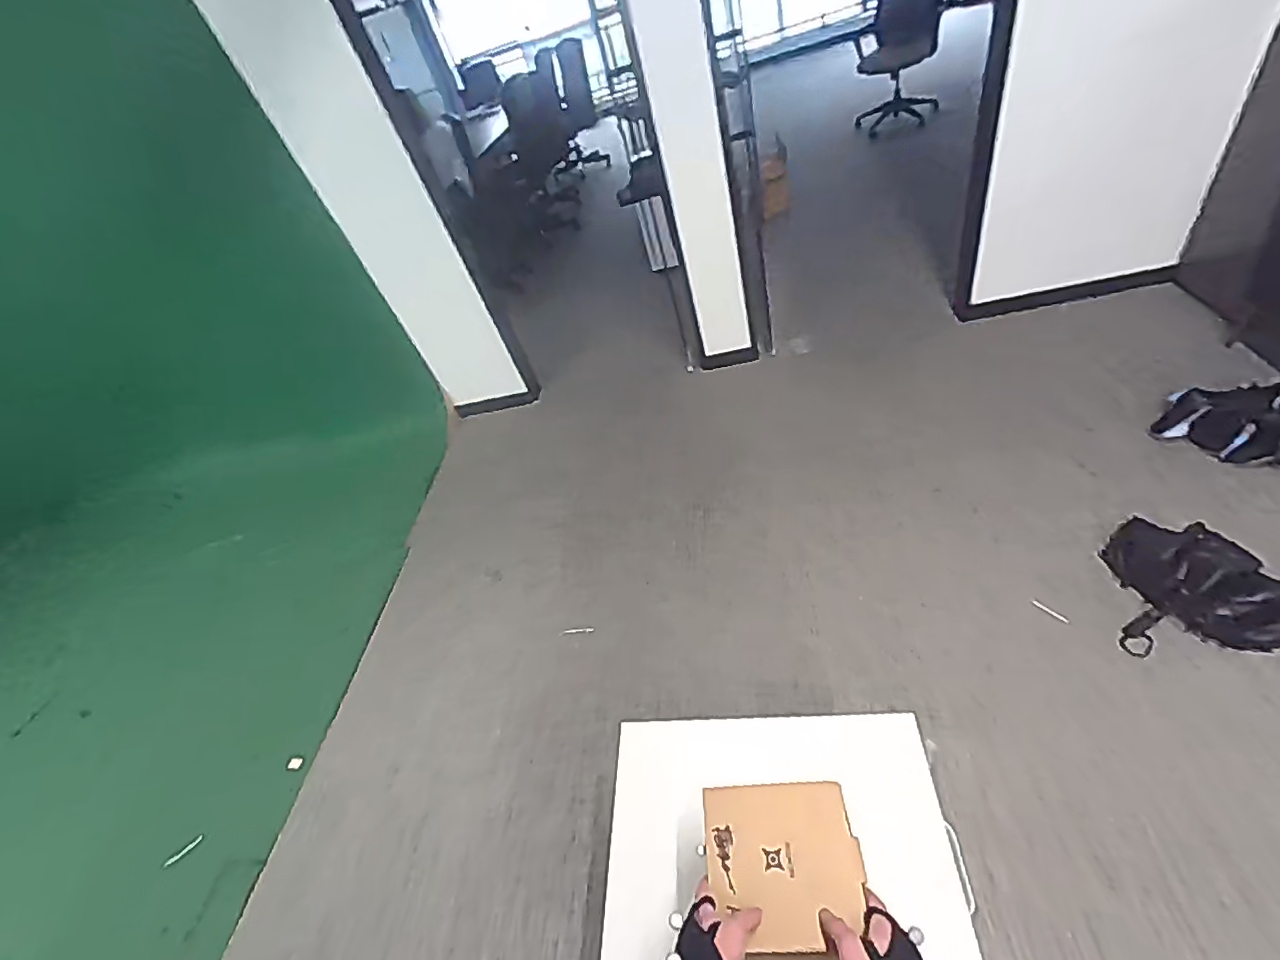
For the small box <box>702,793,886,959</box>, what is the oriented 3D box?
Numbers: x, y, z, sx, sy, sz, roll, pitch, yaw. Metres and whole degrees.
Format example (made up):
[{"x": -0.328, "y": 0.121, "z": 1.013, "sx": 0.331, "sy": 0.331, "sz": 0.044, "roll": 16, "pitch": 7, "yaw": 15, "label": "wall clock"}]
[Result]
[{"x": 0.172, "y": 0.501, "z": 0.655, "sx": 0.179, "sy": 0.176, "sz": 0.168, "roll": -6, "pitch": 40, "yaw": 5, "label": "small box"}]
